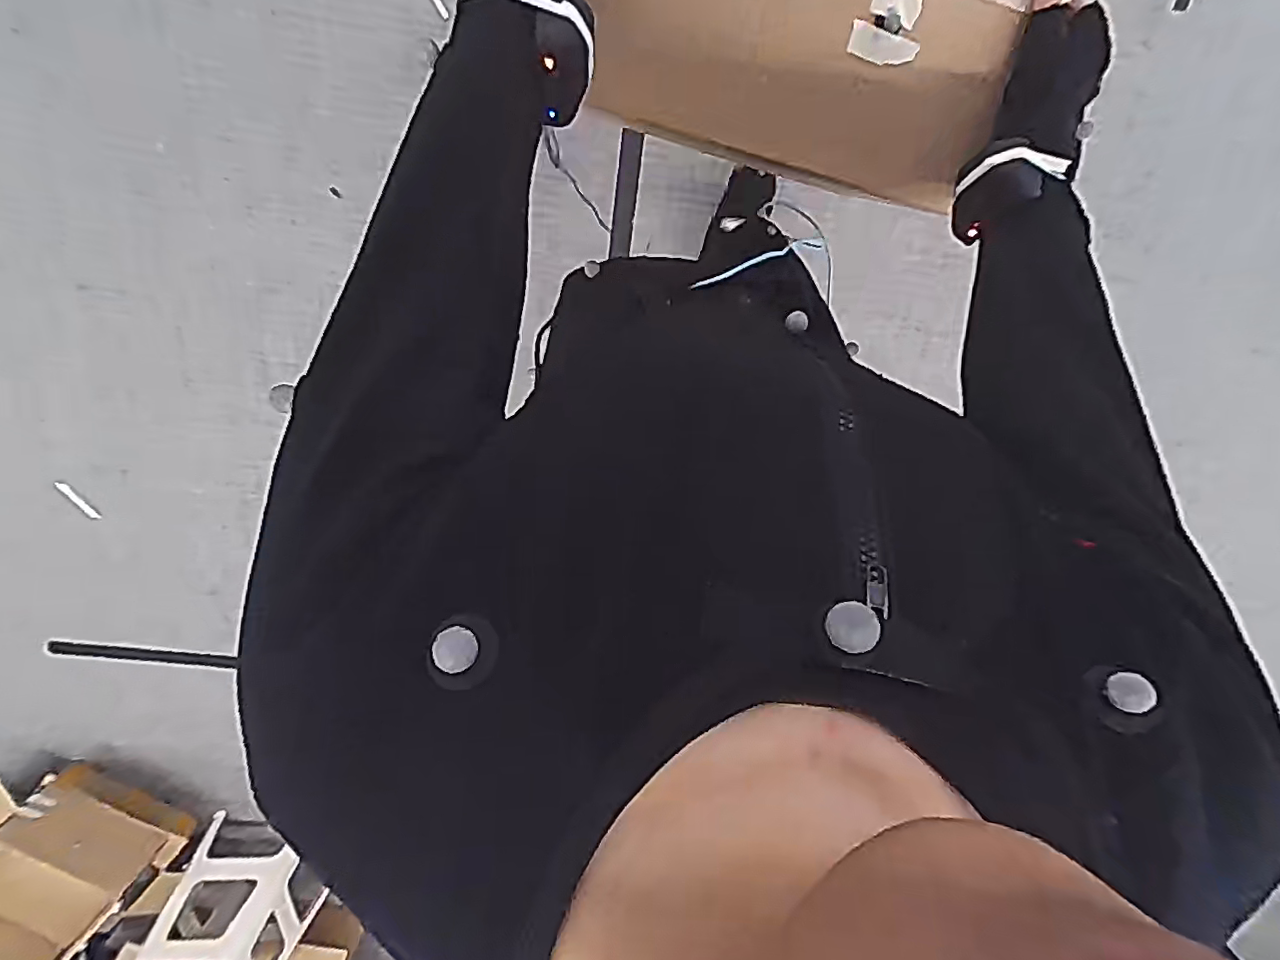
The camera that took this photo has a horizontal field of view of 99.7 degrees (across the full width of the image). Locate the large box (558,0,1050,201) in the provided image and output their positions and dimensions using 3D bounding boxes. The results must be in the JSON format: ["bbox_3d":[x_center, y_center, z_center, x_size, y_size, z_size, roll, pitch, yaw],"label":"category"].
[{"bbox_3d":[0.147,-0.514,0.557,0.408,0.320,0.320,11,121,-9],"label":"large box"}]
